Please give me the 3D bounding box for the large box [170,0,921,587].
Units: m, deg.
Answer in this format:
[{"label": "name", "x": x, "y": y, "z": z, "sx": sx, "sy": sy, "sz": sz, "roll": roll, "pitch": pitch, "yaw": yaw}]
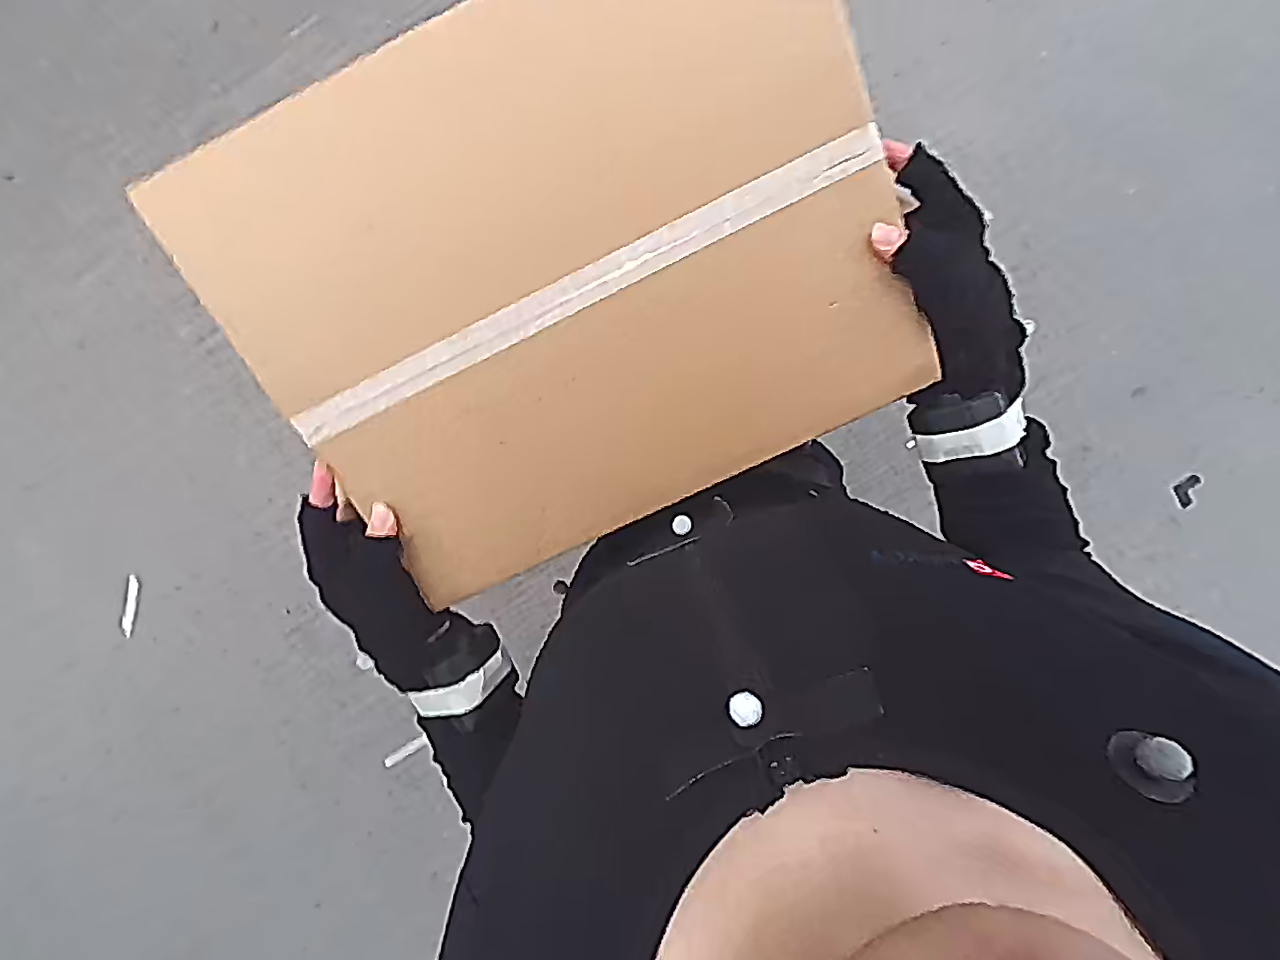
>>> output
[{"label": "large box", "x": -0.052, "y": -0.175, "z": 0.491, "sx": 0.408, "sy": 0.320, "sz": 0.320, "roll": -25, "pitch": 110, "yaw": 5}]
